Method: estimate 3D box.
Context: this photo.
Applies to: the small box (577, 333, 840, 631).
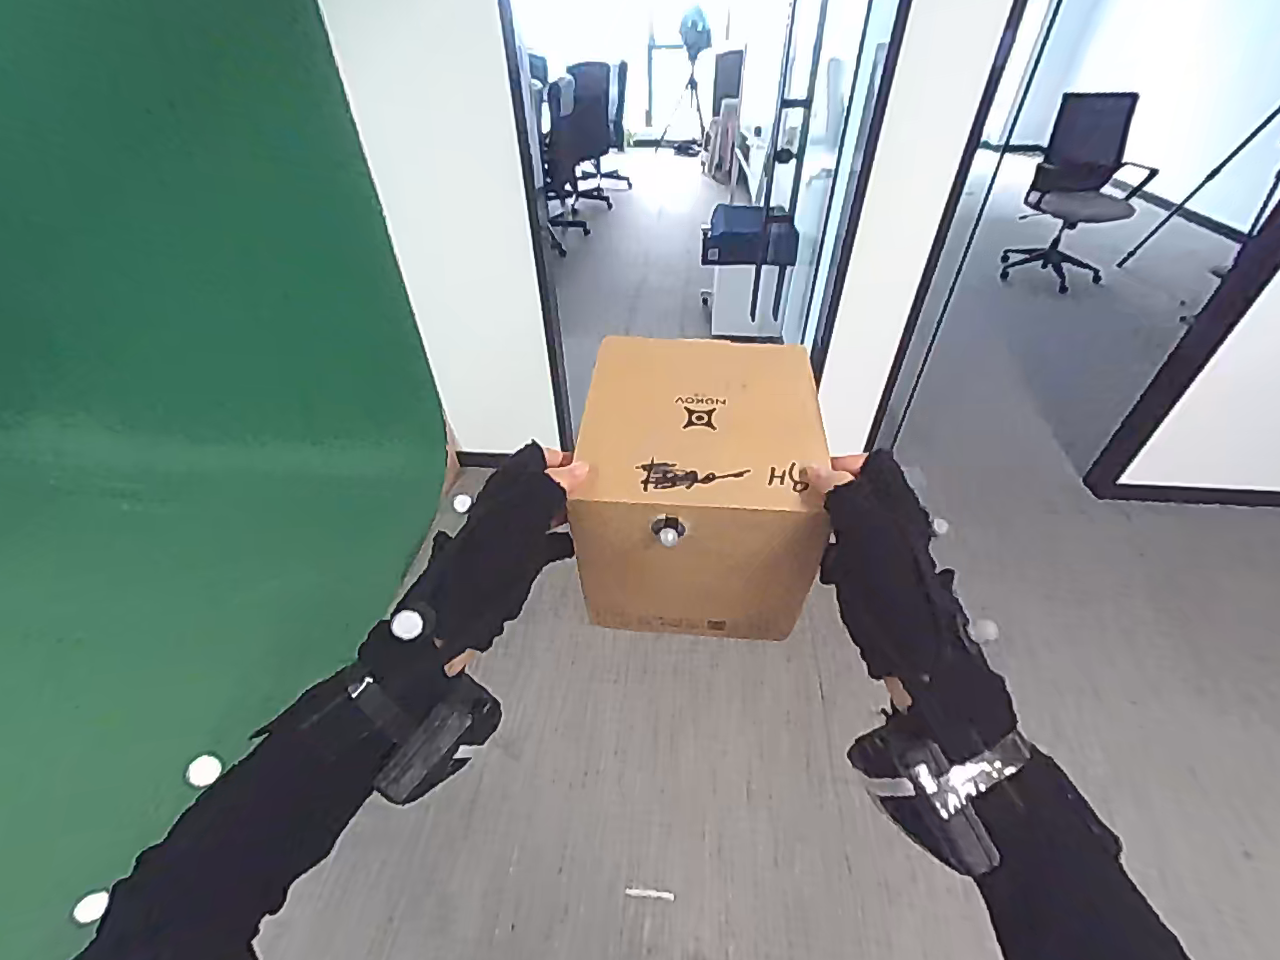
[{"bbox_3d":[0.051,0.000,0.446,0.168,0.176,0.179,3,47,6],"label":"small box"}]
